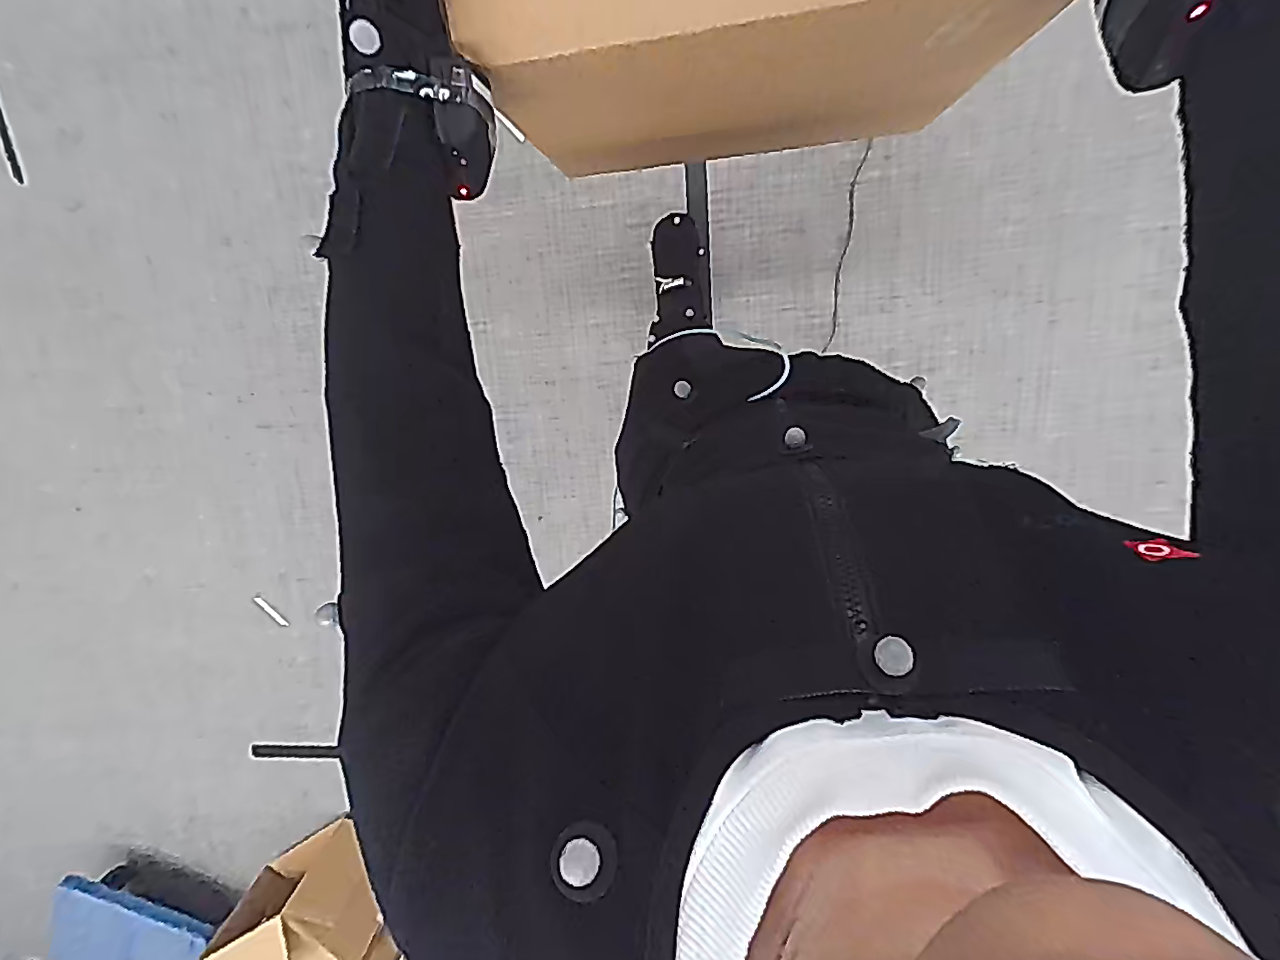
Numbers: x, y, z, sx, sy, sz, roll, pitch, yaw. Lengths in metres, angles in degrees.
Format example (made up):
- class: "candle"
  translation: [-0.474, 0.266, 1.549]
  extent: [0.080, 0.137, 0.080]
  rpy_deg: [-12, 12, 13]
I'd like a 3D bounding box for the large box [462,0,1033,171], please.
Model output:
- class: "large box"
  translation: [0.078, -0.486, 0.438]
  extent: [0.408, 0.320, 0.320]
  rpy_deg: [-4, 107, 7]
